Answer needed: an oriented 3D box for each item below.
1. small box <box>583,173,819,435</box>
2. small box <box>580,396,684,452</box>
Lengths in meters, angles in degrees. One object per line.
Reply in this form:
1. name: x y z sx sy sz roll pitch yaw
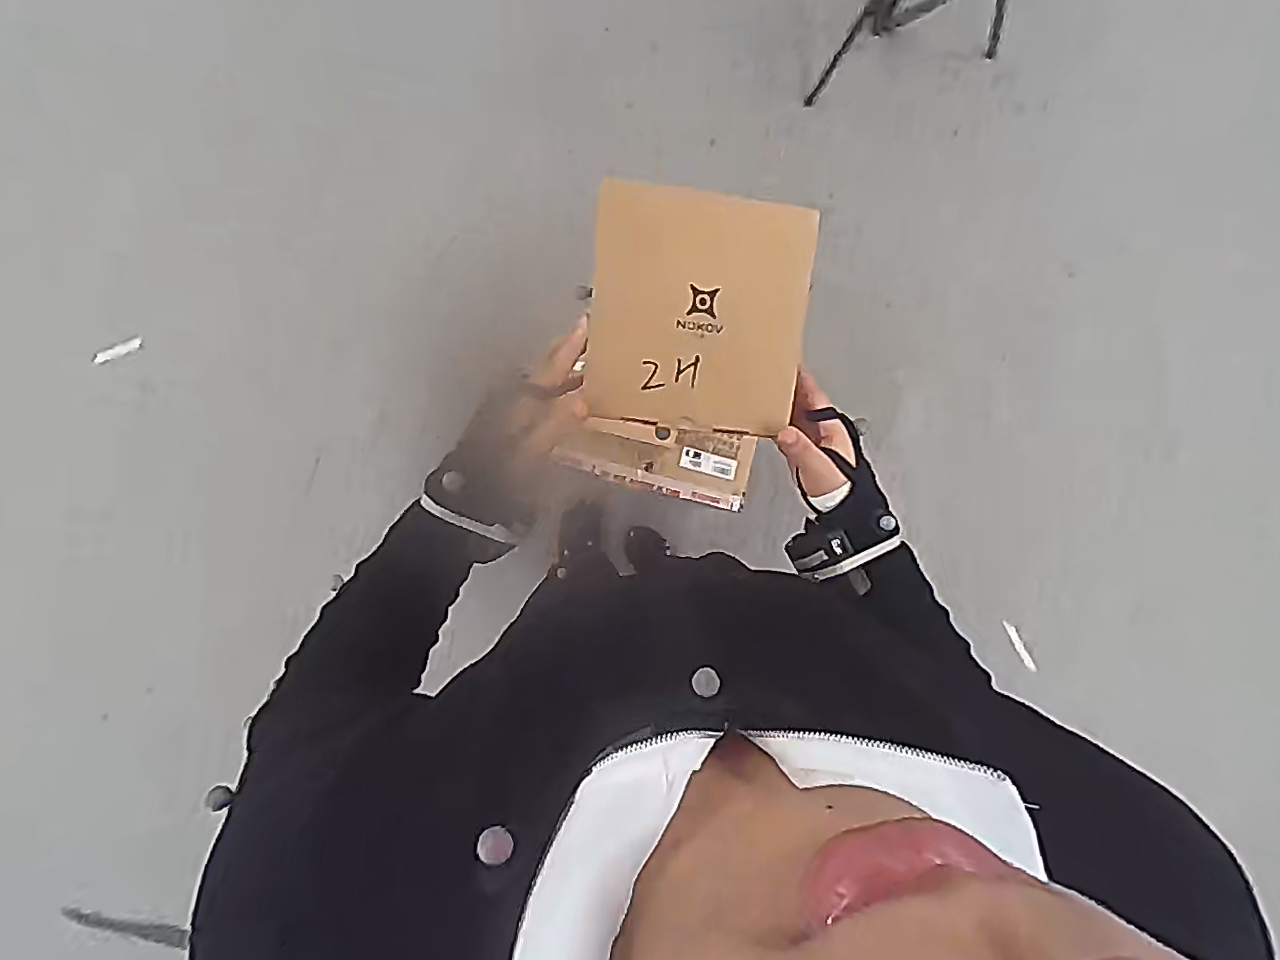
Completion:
1. small box: 0.038 -0.139 0.486 0.168 0.176 0.179 5 98 -7
2. small box: 0.000 -0.153 0.938 0.168 0.176 0.179 14 91 -1
